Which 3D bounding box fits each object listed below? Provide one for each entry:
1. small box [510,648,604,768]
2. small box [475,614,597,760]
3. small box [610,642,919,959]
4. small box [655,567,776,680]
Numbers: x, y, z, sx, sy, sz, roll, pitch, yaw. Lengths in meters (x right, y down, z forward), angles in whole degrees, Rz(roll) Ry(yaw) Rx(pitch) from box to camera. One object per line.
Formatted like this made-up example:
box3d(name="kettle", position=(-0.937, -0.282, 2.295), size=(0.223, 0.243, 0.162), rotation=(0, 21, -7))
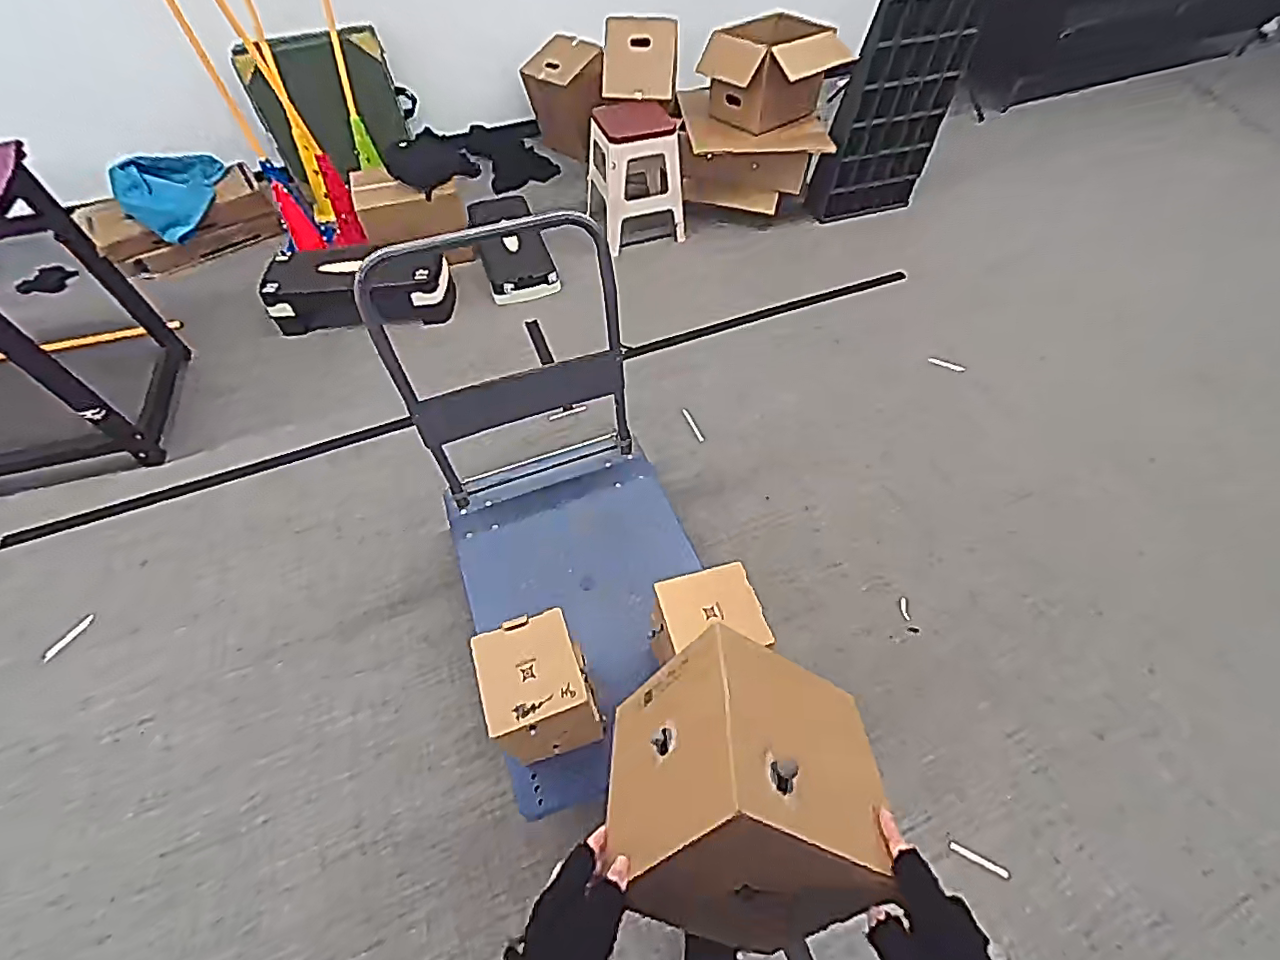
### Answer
box3d(name="small box", position=(-0.176, 0.468, 1.107), size=(0.179, 0.176, 0.168), rotation=(-16, 56, -9))
box3d(name="small box", position=(-0.183, 0.374, 0.972), size=(0.168, 0.176, 0.179), rotation=(-17, 56, -11))
box3d(name="small box", position=(0.094, 0.273, 0.478), size=(0.179, 0.168, 0.176), rotation=(31, 28, -16))
box3d(name="small box", position=(0.133, 0.293, 1.027), size=(0.179, 0.176, 0.168), rotation=(-13, 55, -9))
